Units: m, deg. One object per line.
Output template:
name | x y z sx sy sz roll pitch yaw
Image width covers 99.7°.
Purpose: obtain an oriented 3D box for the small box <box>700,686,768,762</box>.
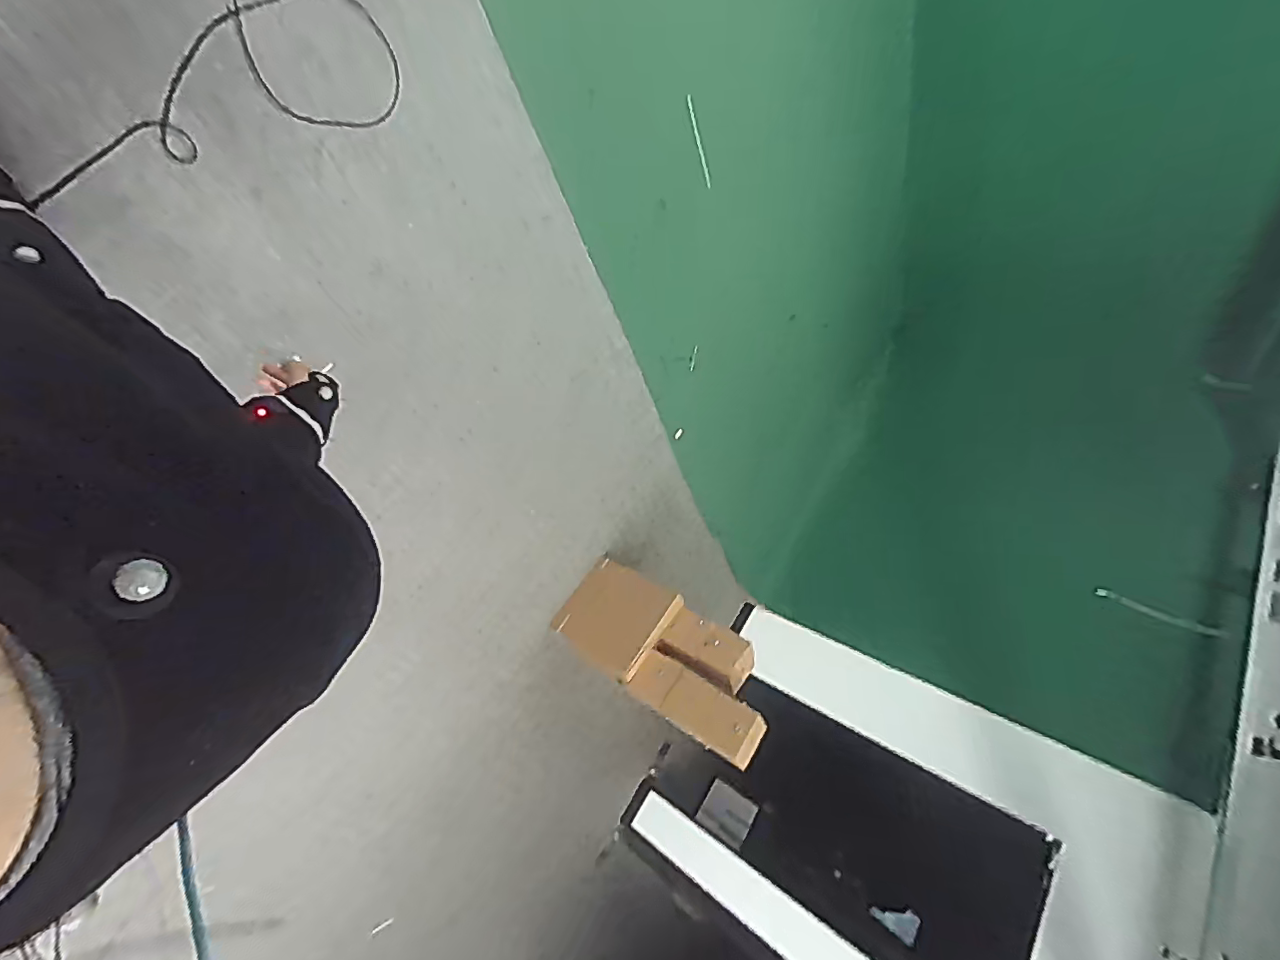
small box | 0.346 0.890 1.985 0.179 0.176 0.168 -52 140 -21
